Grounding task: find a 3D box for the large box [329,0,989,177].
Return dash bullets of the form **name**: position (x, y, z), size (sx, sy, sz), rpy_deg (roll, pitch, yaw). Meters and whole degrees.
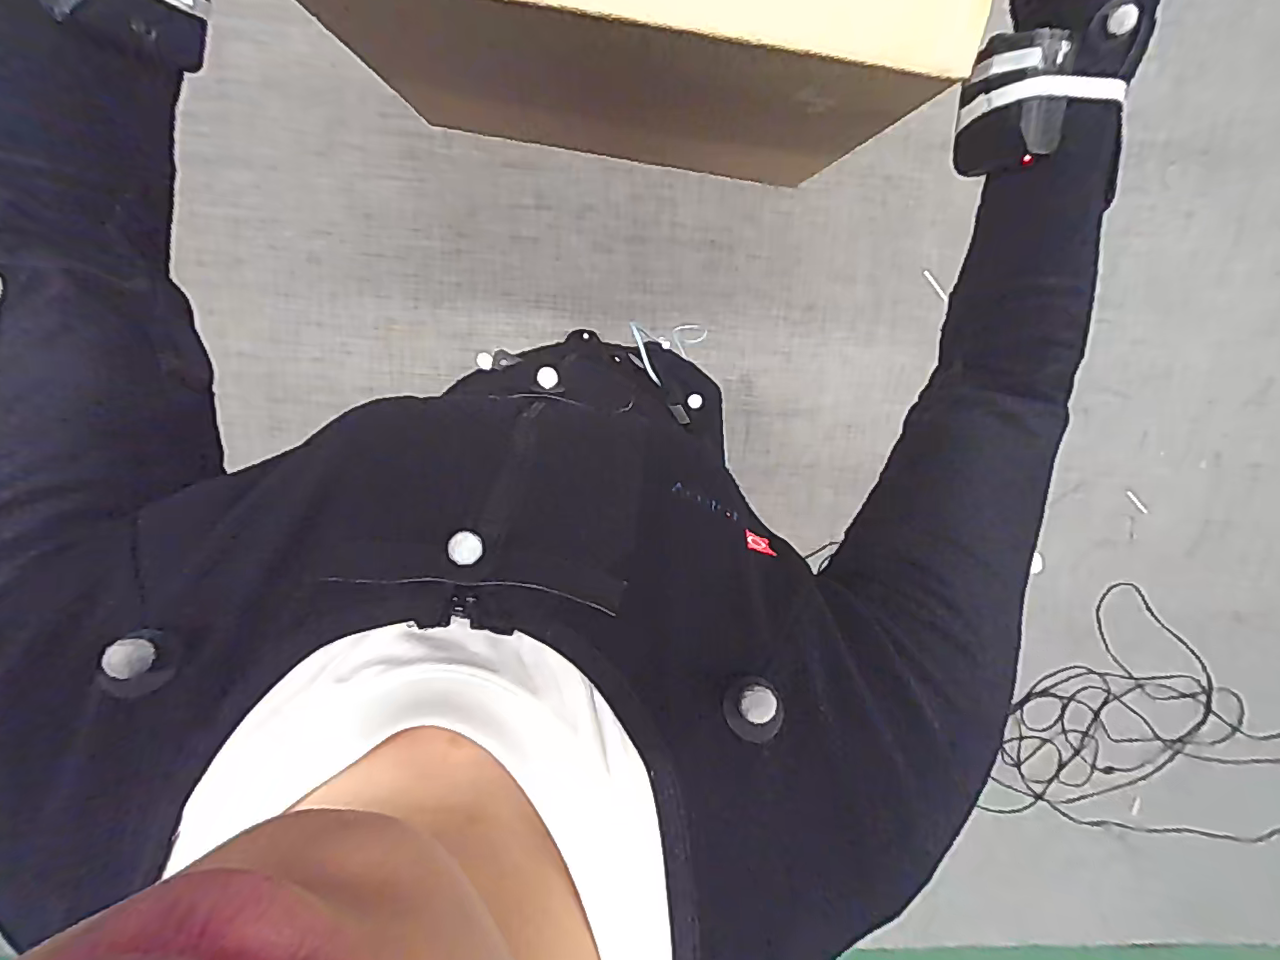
- **large box**: position (0.007, -0.452, 0.398), size (0.408, 0.320, 0.320), rpy_deg (6, 108, -6)
